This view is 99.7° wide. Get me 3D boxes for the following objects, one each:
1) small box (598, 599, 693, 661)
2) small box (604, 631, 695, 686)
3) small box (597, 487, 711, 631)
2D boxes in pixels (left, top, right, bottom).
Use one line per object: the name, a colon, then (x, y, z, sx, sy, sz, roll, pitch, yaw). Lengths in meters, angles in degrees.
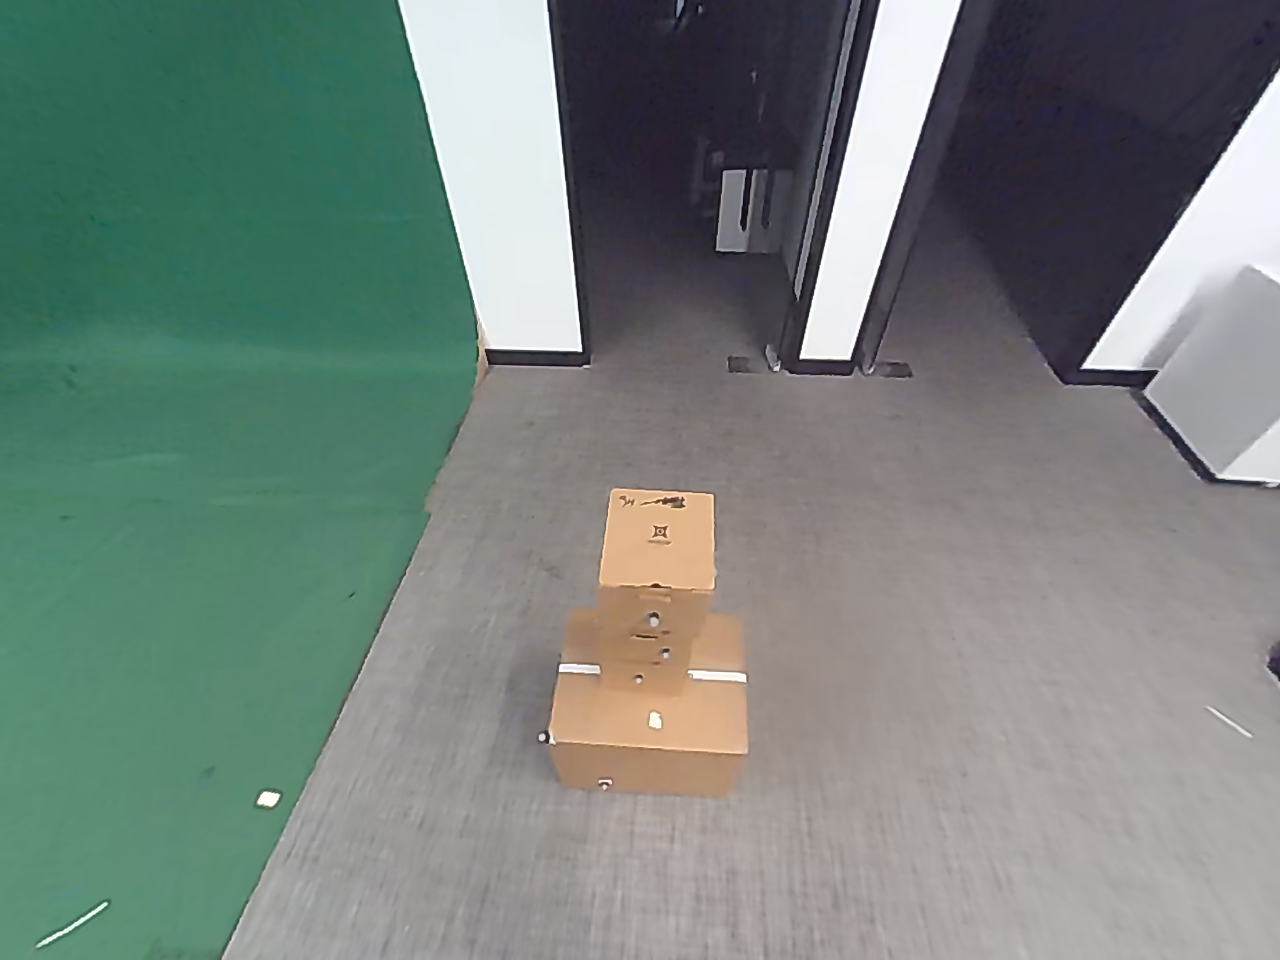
small box: (0.018, 0.226, 1.014, 0.168, 0.176, 0.179, 3, 51, 3)
small box: (0.022, 0.326, 1.142, 0.179, 0.176, 0.168, 2, 52, 3)
small box: (0.028, 0.132, 0.881, 0.168, 0.176, 0.179, 3, 53, 3)
